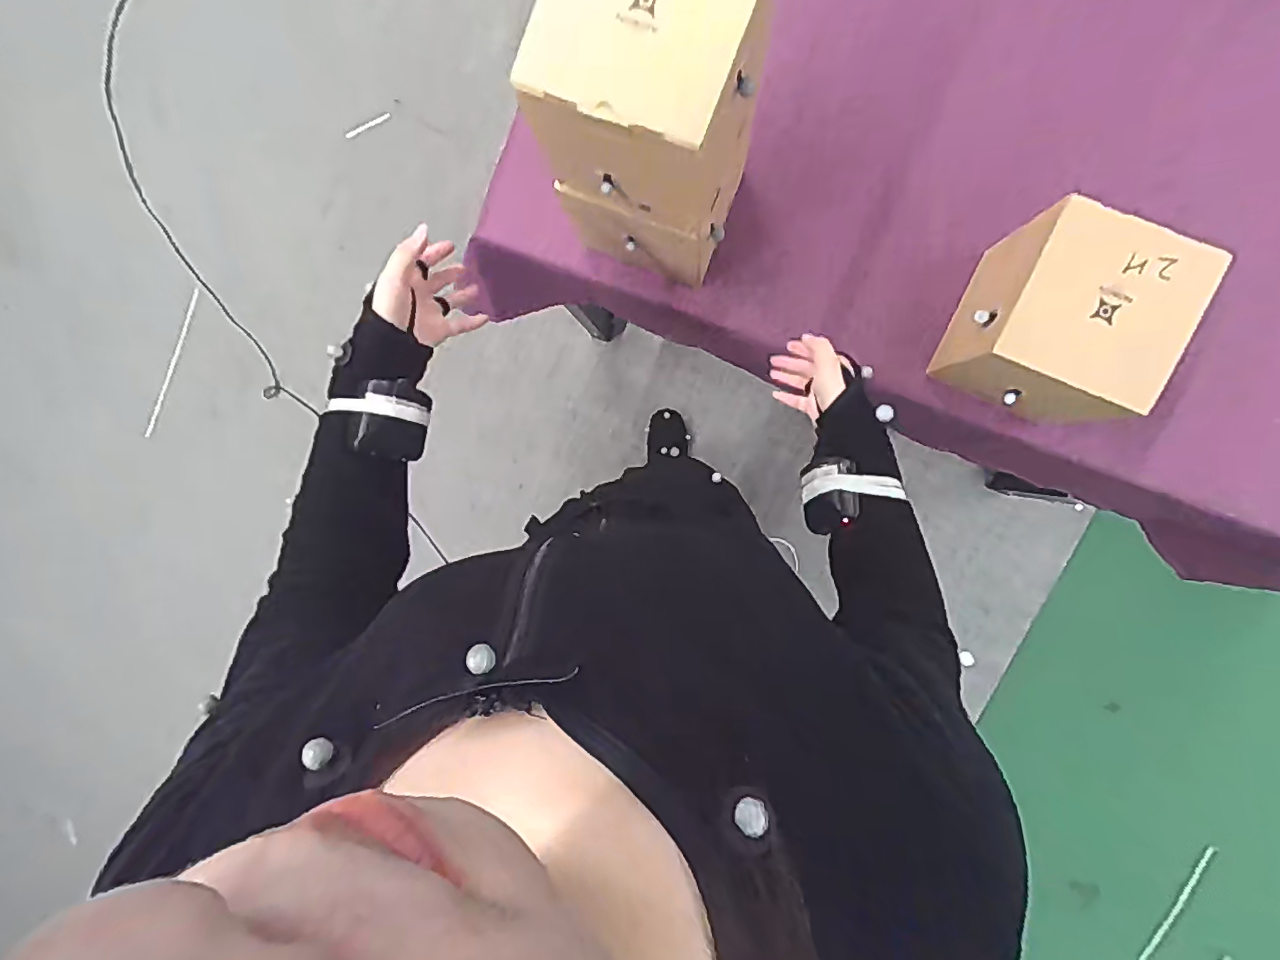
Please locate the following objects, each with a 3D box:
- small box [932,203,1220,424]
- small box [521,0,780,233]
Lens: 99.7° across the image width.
[{"bbox_3d":[0.477,-0.174,0.630,0.168,0.176,0.179,26,95,3],"label":"small box"},{"bbox_3d":[0.016,-0.365,0.498,0.168,0.176,0.179,22,96,4],"label":"small box"}]
